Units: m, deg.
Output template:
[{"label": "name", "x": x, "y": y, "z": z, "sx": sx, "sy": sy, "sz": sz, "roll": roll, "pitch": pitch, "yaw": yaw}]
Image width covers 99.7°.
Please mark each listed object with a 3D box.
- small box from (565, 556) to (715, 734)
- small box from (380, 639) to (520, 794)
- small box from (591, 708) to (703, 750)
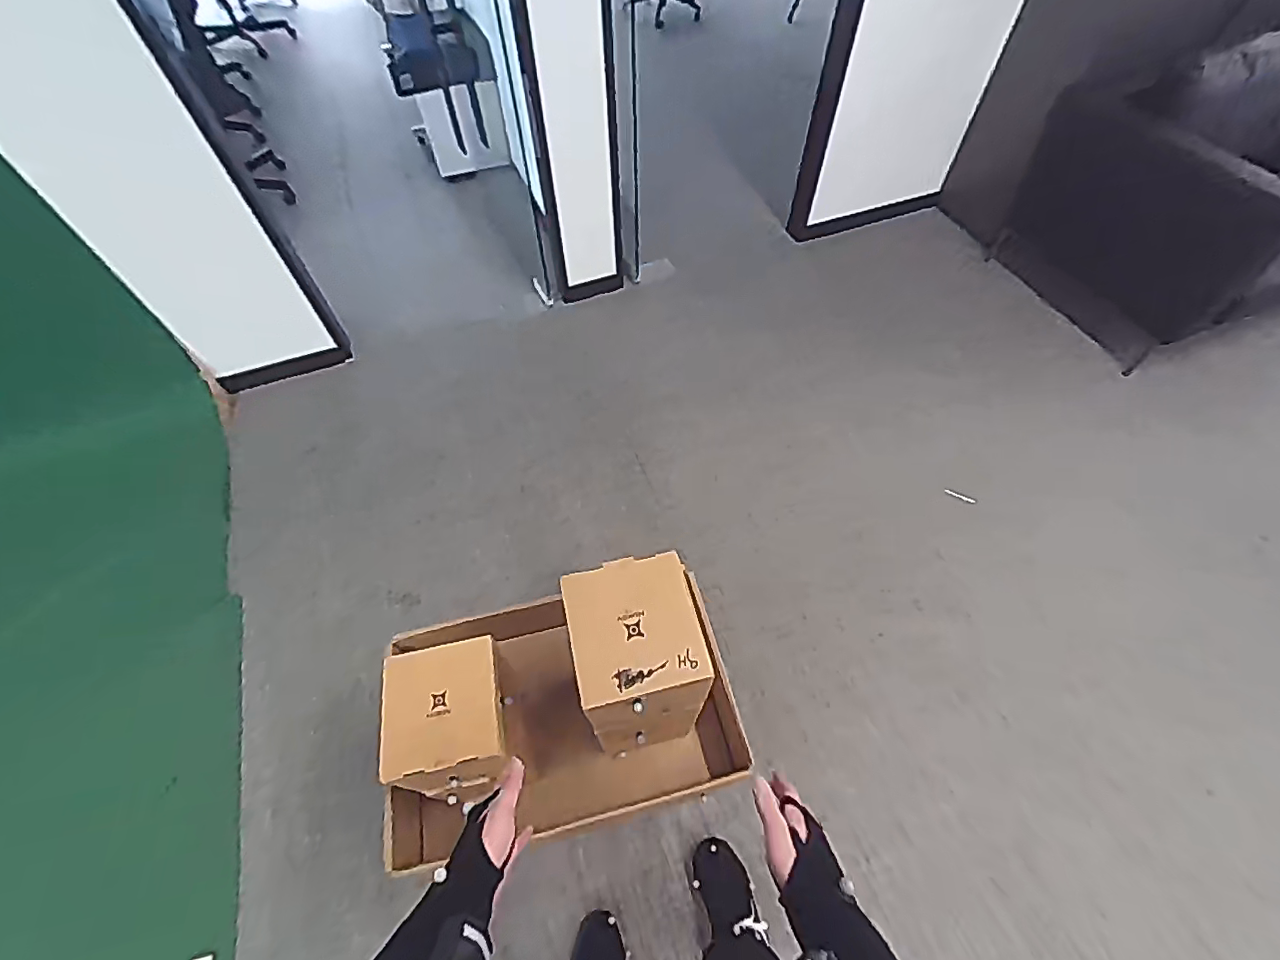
[{"label": "small box", "x": -0.005, "y": 0.233, "z": 0.754, "sx": 0.168, "sy": 0.176, "sz": 0.179, "roll": -12, "pitch": 57, "yaw": -6}, {"label": "small box", "x": -0.292, "y": 0.378, "z": 0.859, "sx": 0.168, "sy": 0.176, "sz": 0.179, "roll": -10, "pitch": 57, "yaw": -7}, {"label": "small box", "x": -0.004, "y": 0.325, "z": 0.890, "sx": 0.168, "sy": 0.176, "sz": 0.179, "roll": -11, "pitch": 57, "yaw": -6}]
